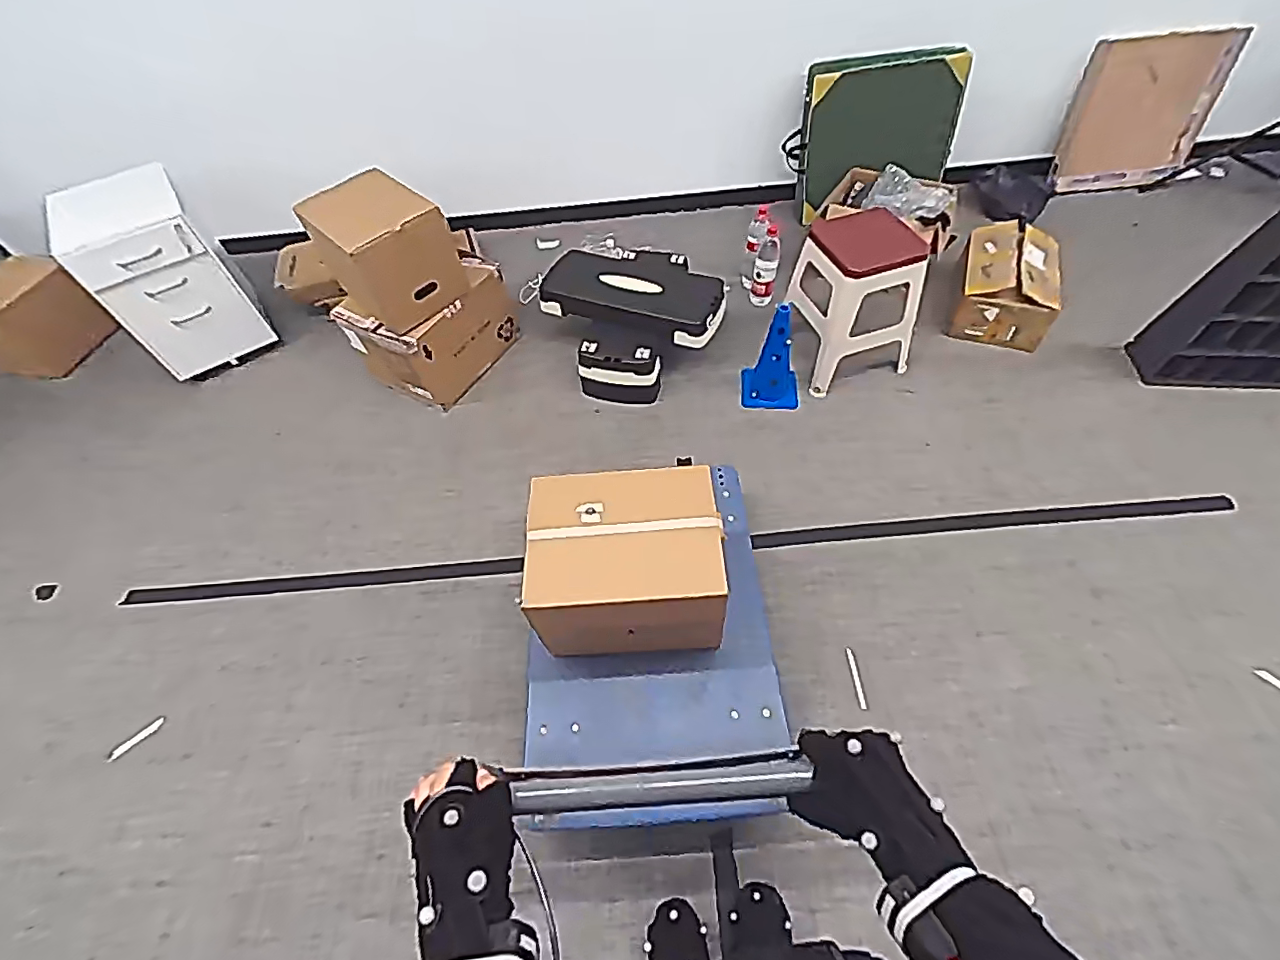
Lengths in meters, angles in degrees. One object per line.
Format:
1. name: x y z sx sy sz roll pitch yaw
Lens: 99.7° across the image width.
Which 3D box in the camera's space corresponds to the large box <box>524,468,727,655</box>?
1. large box: -0.026 0.198 1.253 0.408 0.320 0.320 -5 55 2
